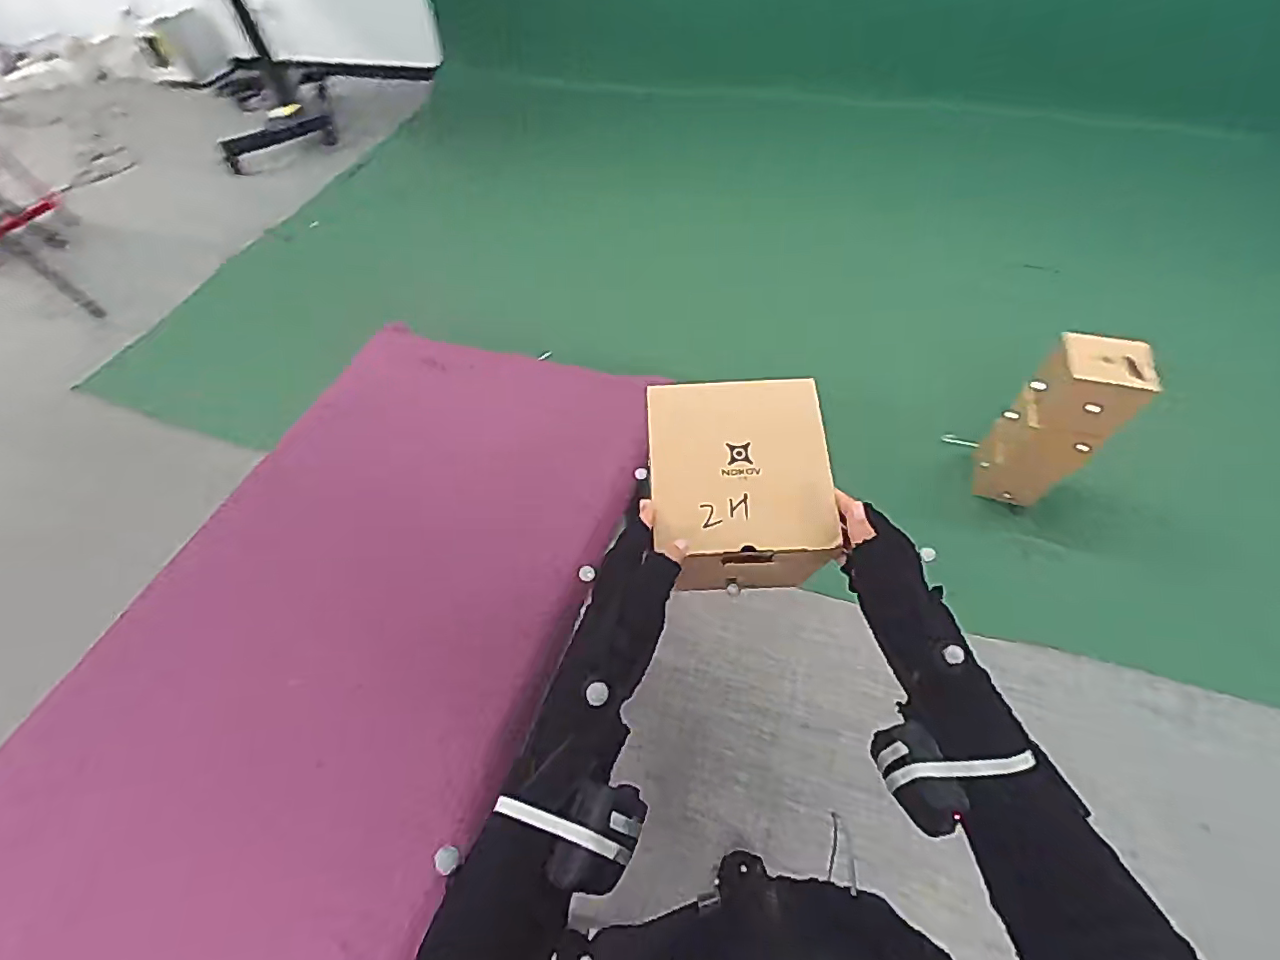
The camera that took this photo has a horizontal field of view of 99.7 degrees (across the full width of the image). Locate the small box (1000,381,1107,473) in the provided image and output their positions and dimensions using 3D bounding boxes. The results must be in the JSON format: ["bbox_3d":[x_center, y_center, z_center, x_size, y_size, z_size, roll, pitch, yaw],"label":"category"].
[{"bbox_3d":[1.106,-0.140,1.467,0.179,0.176,0.168,13,58,12],"label":"small box"}]

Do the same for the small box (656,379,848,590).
[{"bbox_3d":[0.101,0.013,0.572,0.168,0.176,0.179,-3,69,3],"label":"small box"}]

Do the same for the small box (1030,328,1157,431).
[{"bbox_3d":[1.106,-0.242,1.334,0.179,0.176,0.168,15,56,13],"label":"small box"}]
